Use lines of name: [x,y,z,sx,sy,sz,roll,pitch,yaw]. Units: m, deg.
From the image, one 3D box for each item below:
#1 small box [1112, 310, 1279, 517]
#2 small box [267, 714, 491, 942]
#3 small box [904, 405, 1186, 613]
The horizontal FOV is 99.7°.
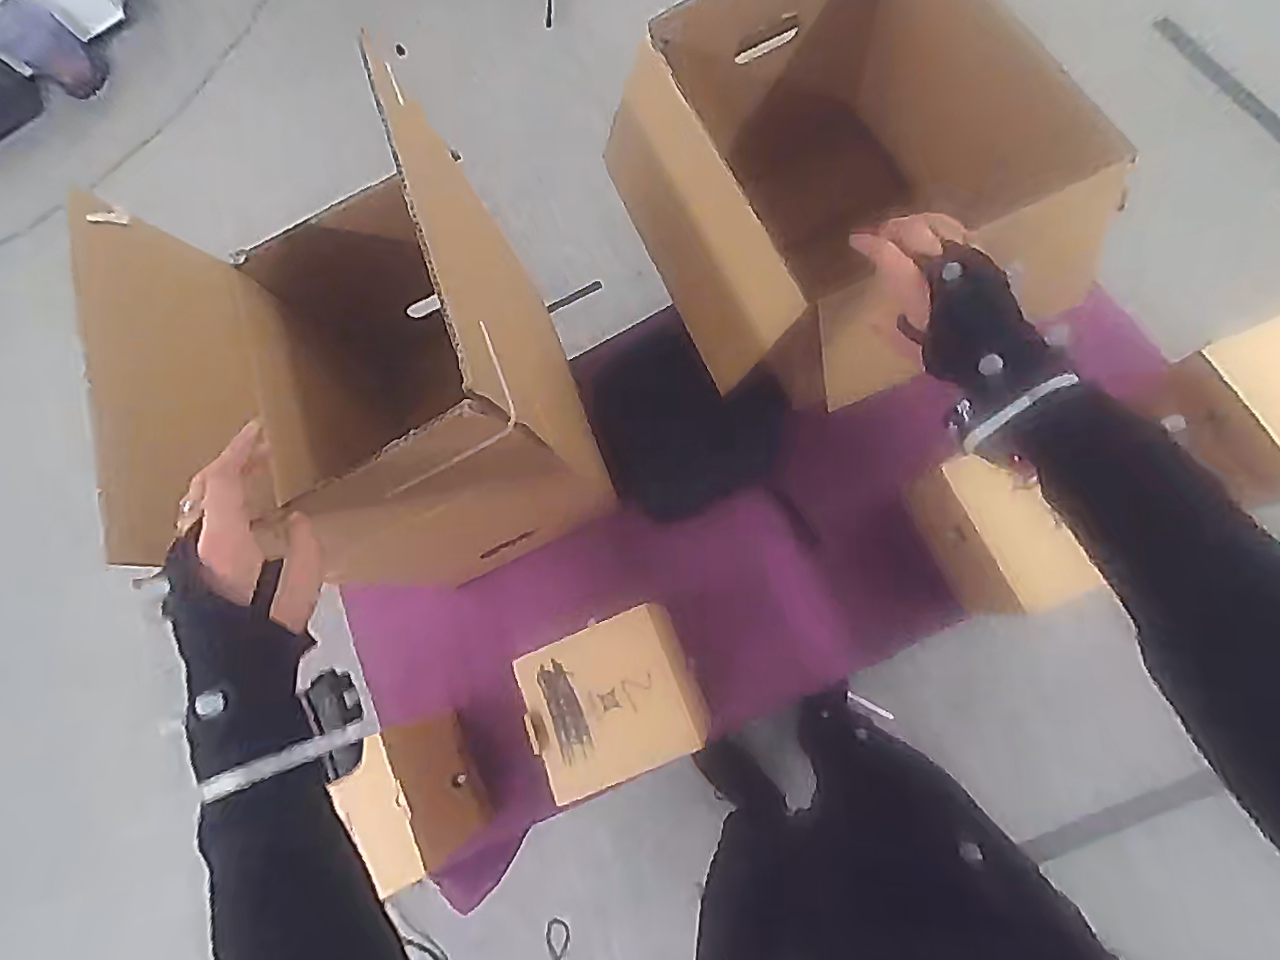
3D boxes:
small box: [0.698,-0.077,0.605,0.168,0.176,0.179,-24,73,6]
small box: [-0.328,0.432,0.704,0.179,0.176,0.168,-30,73,2]
small box: [0.442,0.045,0.632,0.168,0.176,0.179,-25,74,5]
